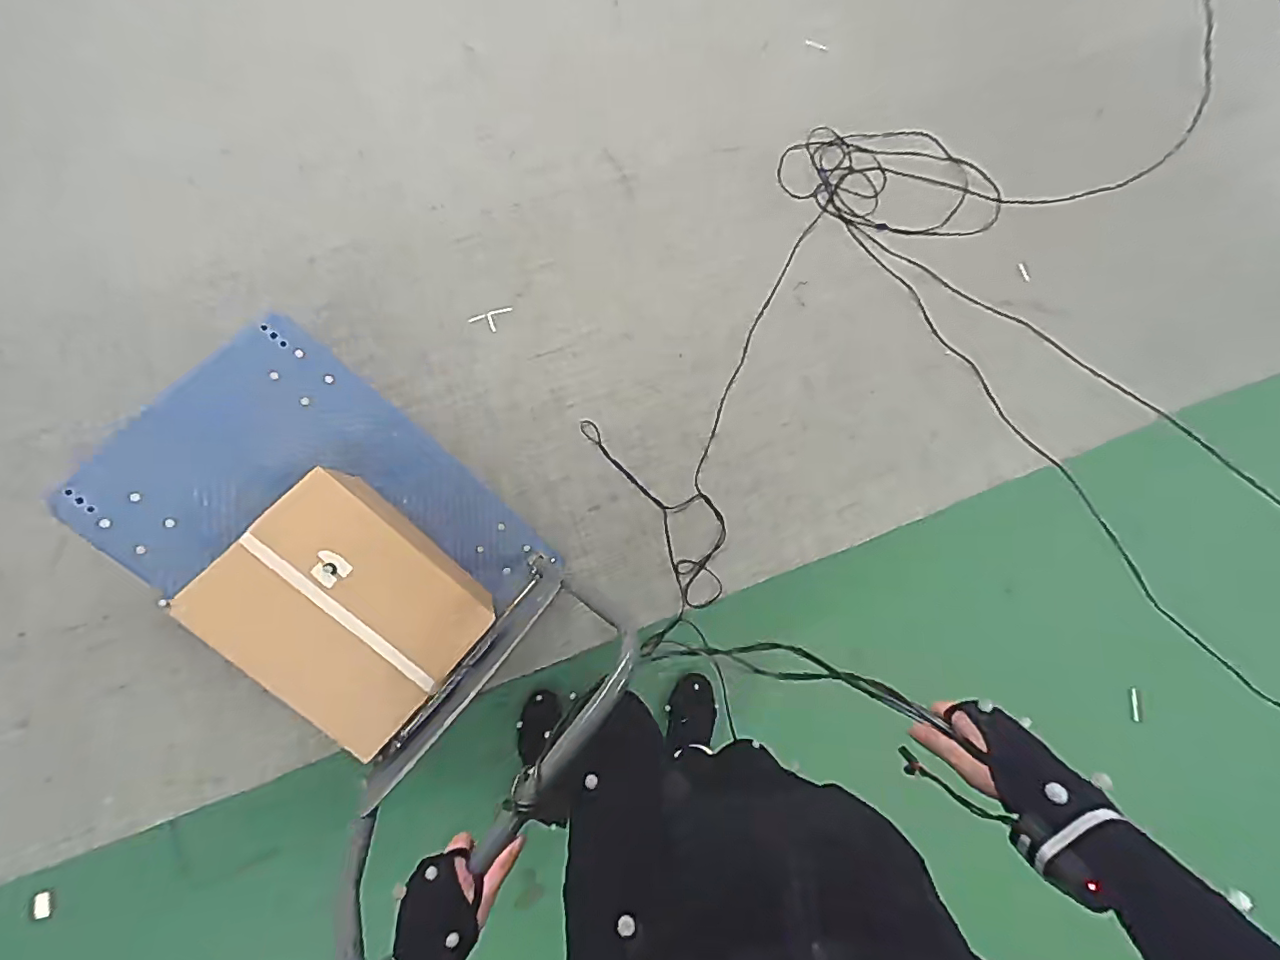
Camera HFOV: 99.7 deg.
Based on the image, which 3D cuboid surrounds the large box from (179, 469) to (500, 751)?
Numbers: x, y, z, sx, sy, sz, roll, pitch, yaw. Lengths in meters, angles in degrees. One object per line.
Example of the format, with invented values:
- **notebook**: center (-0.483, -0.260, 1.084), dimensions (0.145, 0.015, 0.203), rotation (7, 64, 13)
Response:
- **large box**: center (-0.527, 0.231, 1.059), dimensions (0.408, 0.320, 0.320), rotation (43, 76, -8)
